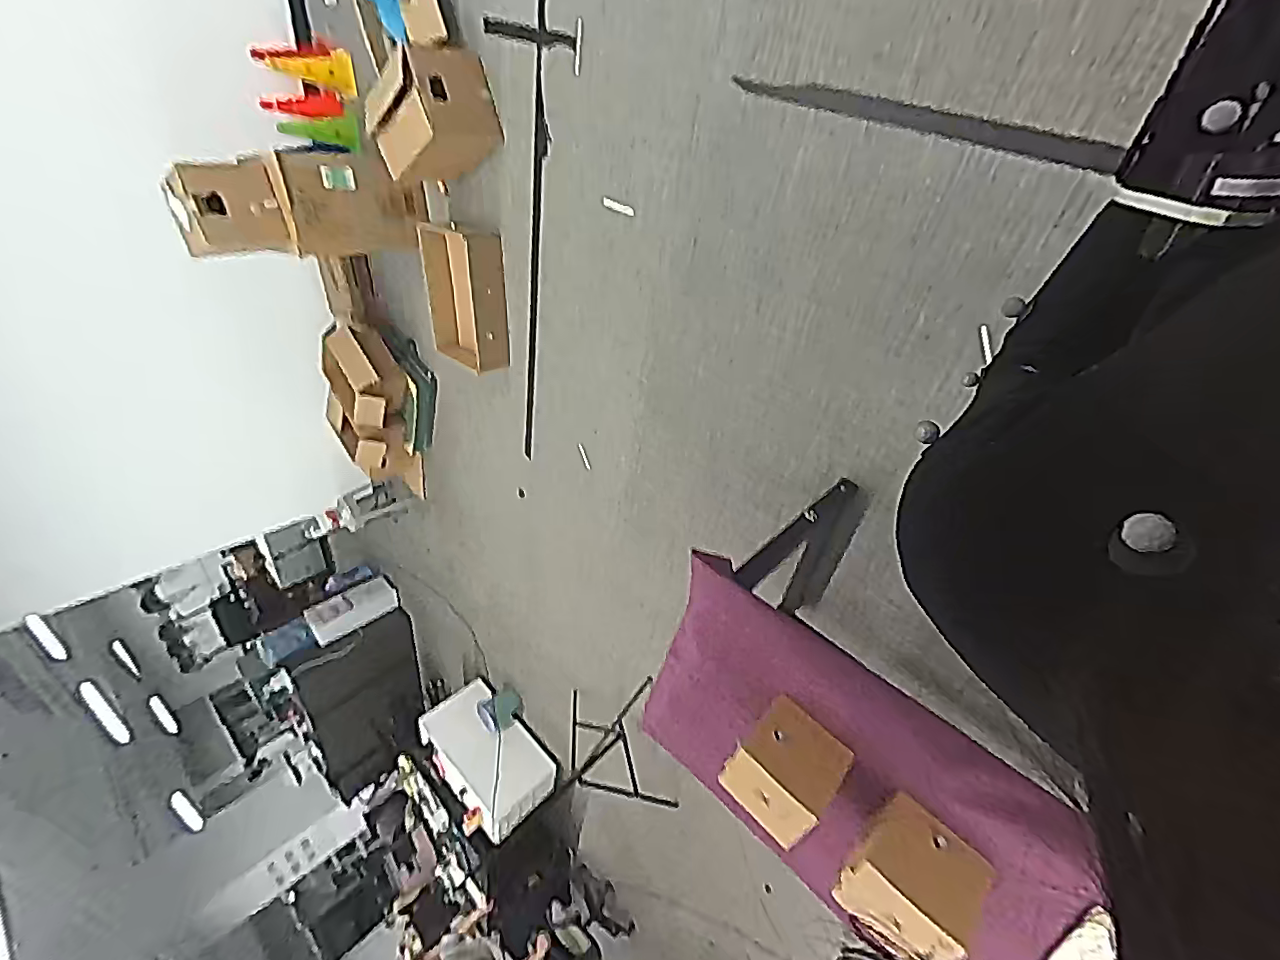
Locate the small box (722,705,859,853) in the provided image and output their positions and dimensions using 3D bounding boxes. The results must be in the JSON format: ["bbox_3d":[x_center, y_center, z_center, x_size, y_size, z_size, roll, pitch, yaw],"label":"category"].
[{"bbox_3d":[0.299,0.584,1.080,0.179,0.176,0.168,36,135,25],"label":"small box"}]

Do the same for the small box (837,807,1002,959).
[{"bbox_3d":[0.489,0.717,0.951,0.179,0.176,0.168,35,133,30],"label":"small box"}]
